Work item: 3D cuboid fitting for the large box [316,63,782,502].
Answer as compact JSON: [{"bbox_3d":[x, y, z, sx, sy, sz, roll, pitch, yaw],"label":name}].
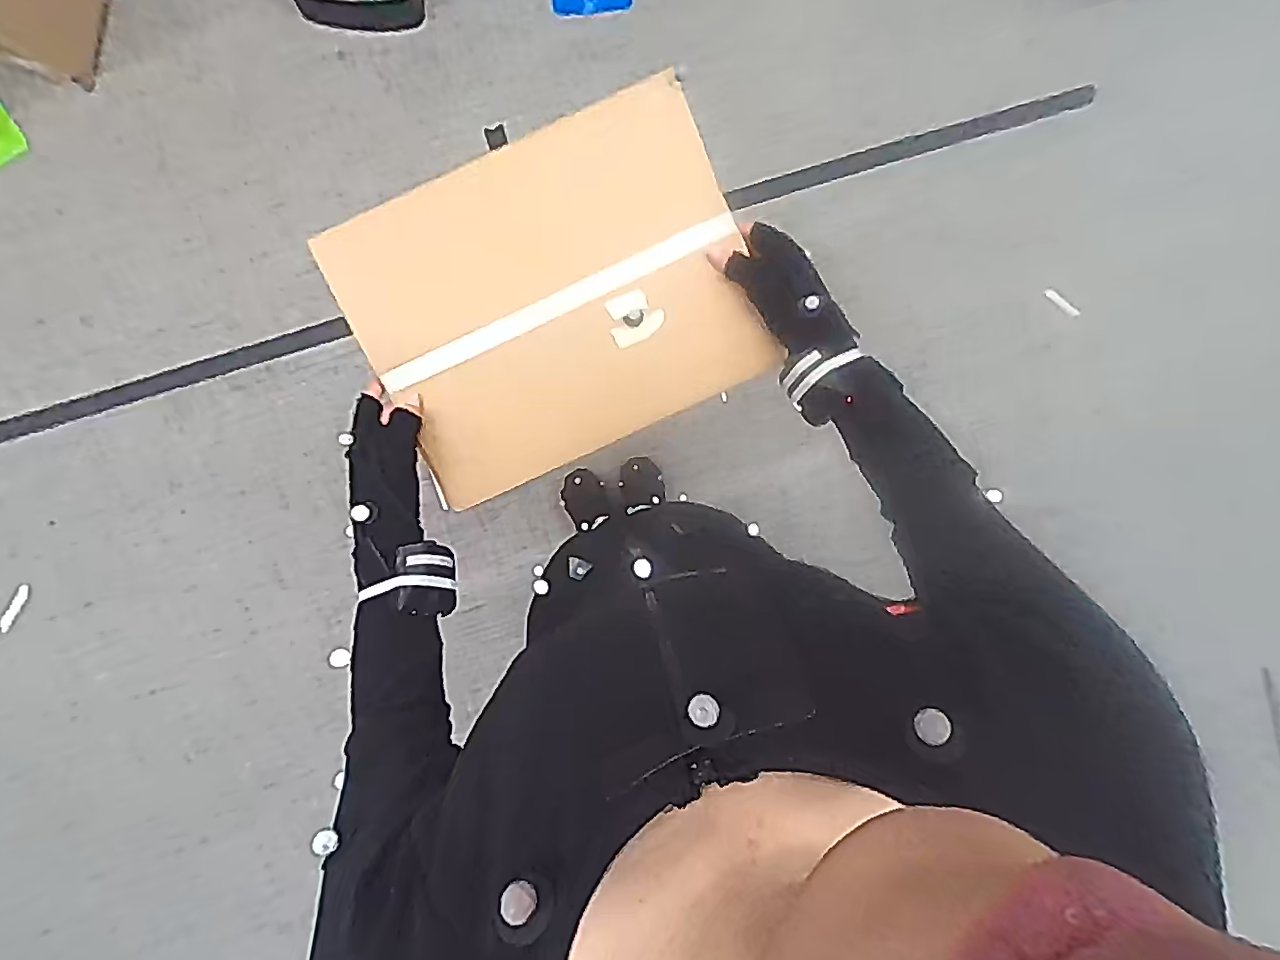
[{"bbox_3d":[-0.096,-0.217,0.708,0.408,0.320,0.320,-25,102,0],"label":"large box"}]
